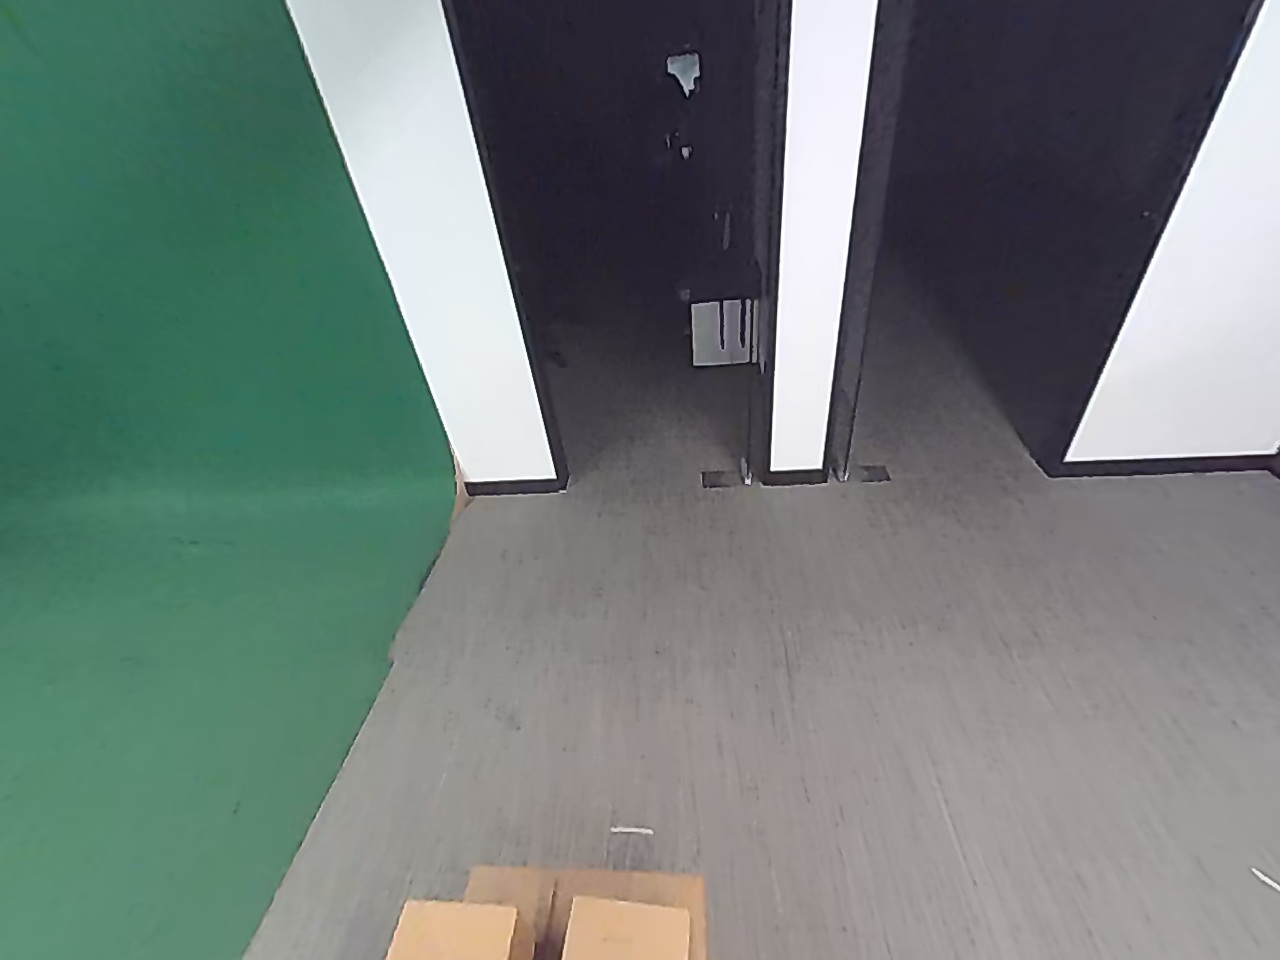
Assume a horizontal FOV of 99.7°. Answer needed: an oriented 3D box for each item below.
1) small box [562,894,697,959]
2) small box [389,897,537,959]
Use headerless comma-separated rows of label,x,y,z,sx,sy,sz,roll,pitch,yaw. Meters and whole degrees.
small box,-0.014,0.695,0.720,0.168,0.176,0.179,-1,36,11
small box,-0.249,0.711,0.743,0.168,0.176,0.179,-2,38,6
